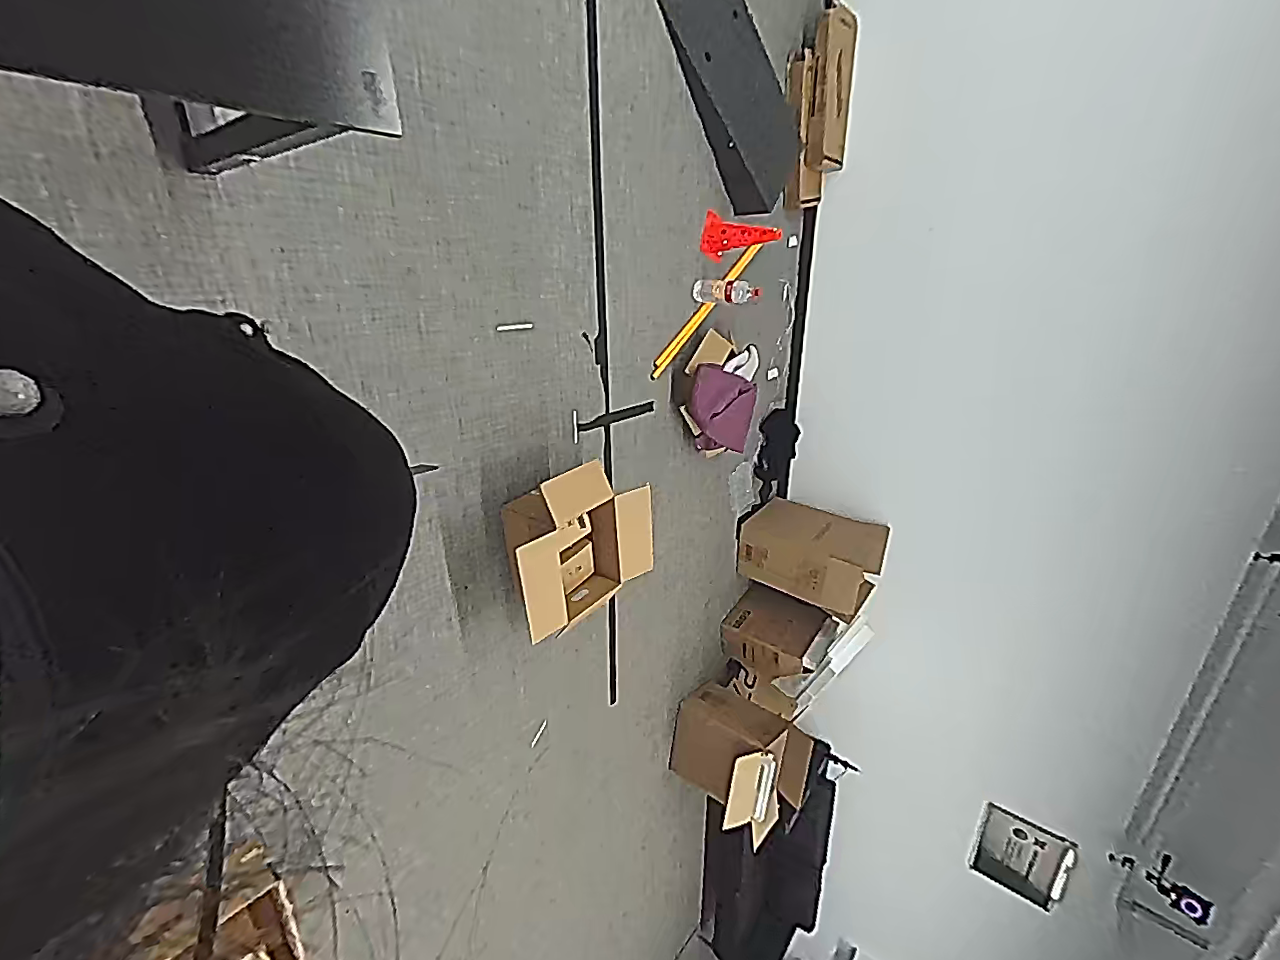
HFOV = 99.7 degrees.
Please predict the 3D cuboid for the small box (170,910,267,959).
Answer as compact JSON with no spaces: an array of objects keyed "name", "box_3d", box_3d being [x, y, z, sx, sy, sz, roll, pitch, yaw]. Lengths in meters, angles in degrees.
[{"name":"small box","box_3d":[-1.105,1.301,1.422,0.179,0.176,0.168,-22,118,-46]}]
